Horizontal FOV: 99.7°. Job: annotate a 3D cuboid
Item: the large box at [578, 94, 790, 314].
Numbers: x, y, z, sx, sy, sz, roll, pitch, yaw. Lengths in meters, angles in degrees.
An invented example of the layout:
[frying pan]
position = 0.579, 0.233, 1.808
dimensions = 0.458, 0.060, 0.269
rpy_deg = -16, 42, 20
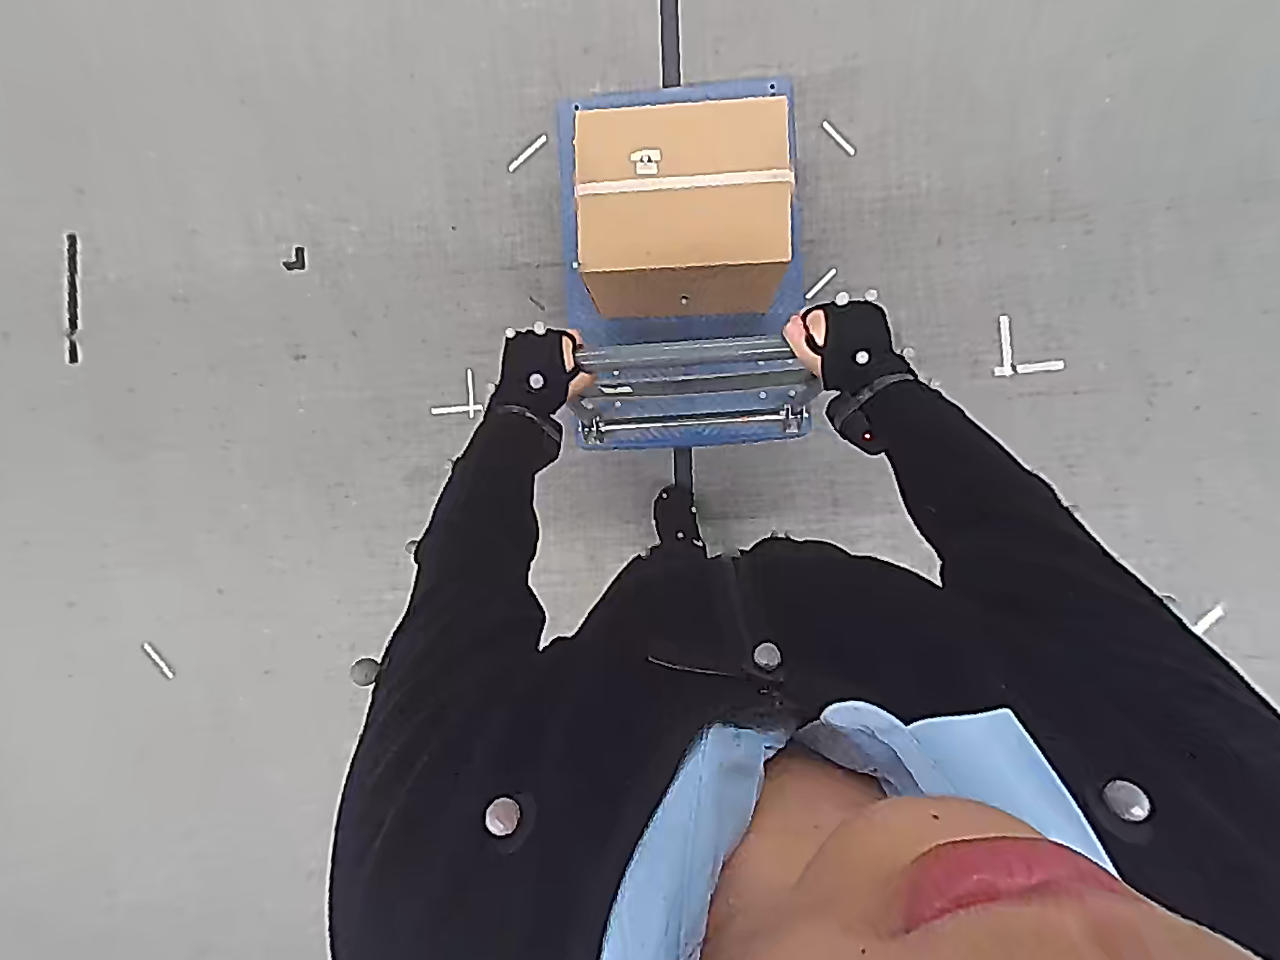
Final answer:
[large box]
position = 0.096, -0.568, 1.183
dimensions = 0.408, 0.320, 0.320
rpy_deg = -2, 89, 5
